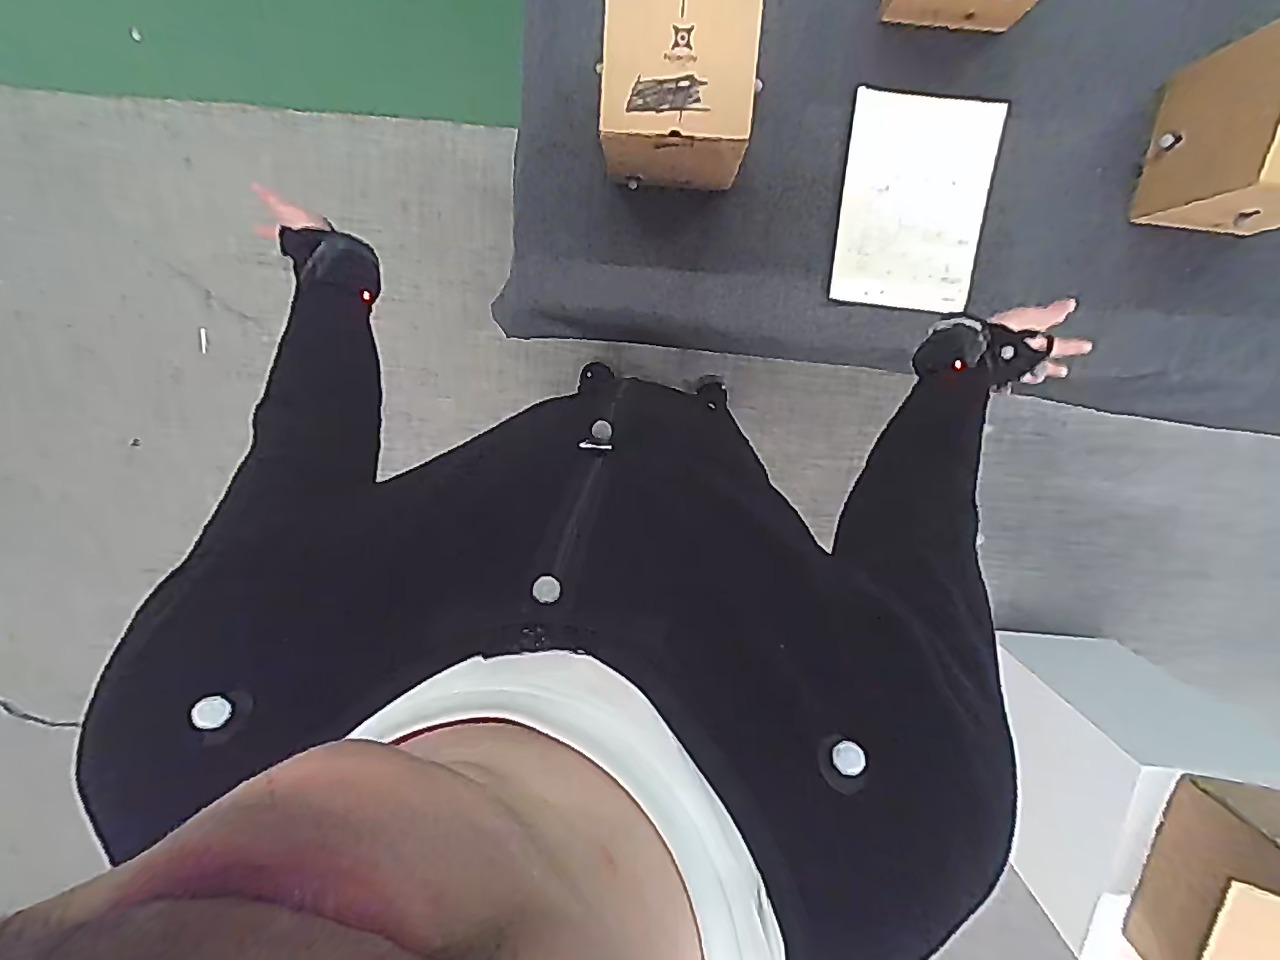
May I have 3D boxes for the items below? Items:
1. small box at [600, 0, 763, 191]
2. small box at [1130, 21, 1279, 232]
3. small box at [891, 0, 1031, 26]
[{"bbox_3d":[0.046,-0.468,0.653,0.168,0.176,0.179,4,102,0],"label":"small box"},{"bbox_3d":[0.751,-0.408,0.646,0.168,0.176,0.179,6,104,0],"label":"small box"},{"bbox_3d":[0.392,-0.643,0.589,0.168,0.176,0.179,5,102,0],"label":"small box"}]
